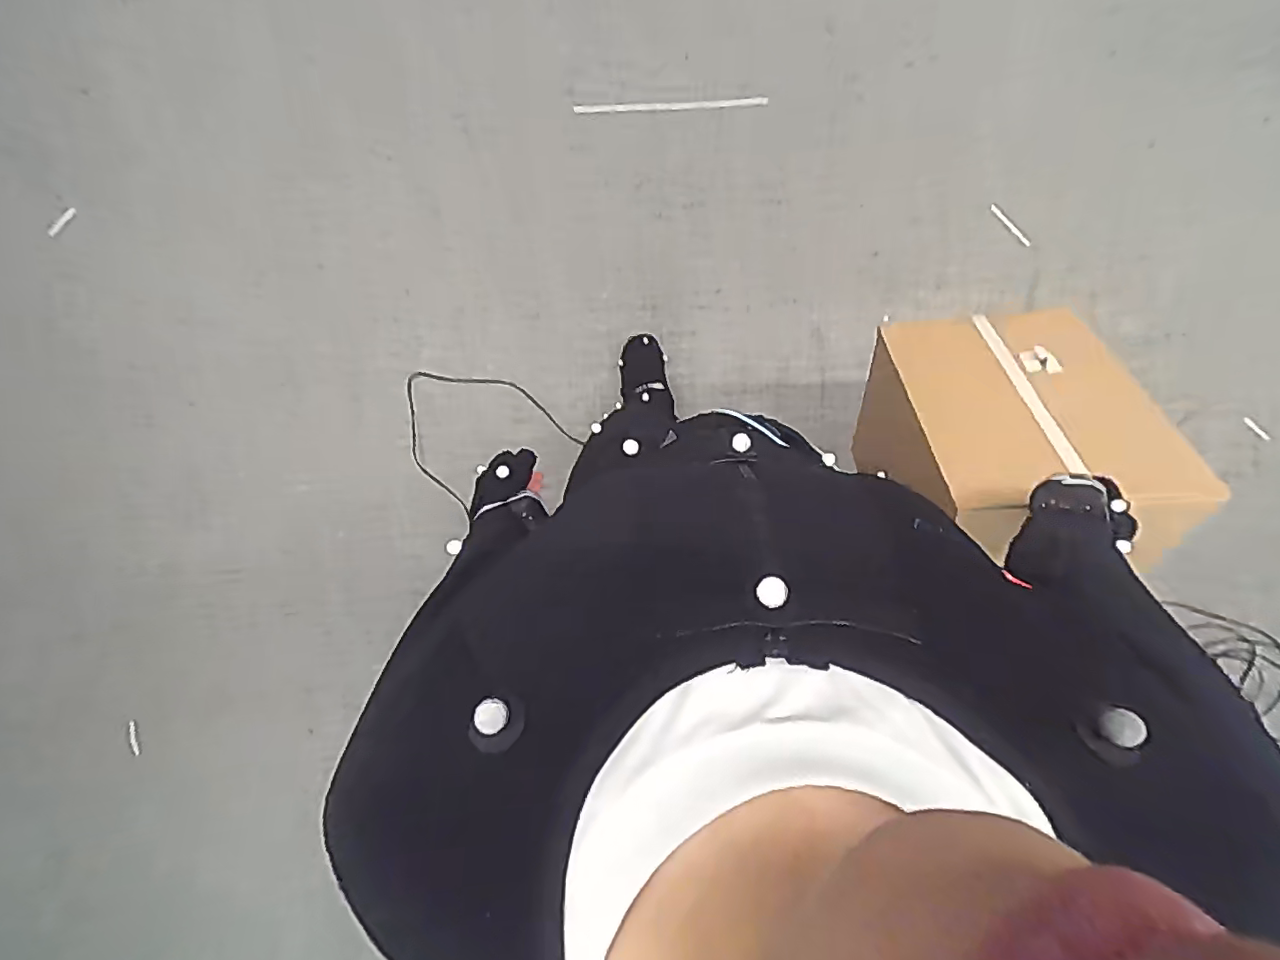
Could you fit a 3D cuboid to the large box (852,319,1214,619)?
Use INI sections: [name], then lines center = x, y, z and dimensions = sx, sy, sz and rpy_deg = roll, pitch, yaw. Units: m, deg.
[large box]
center = 0.581, -0.020, 0.918
dimensions = 0.320, 0.408, 0.320
rpy_deg = -3, 137, 6
